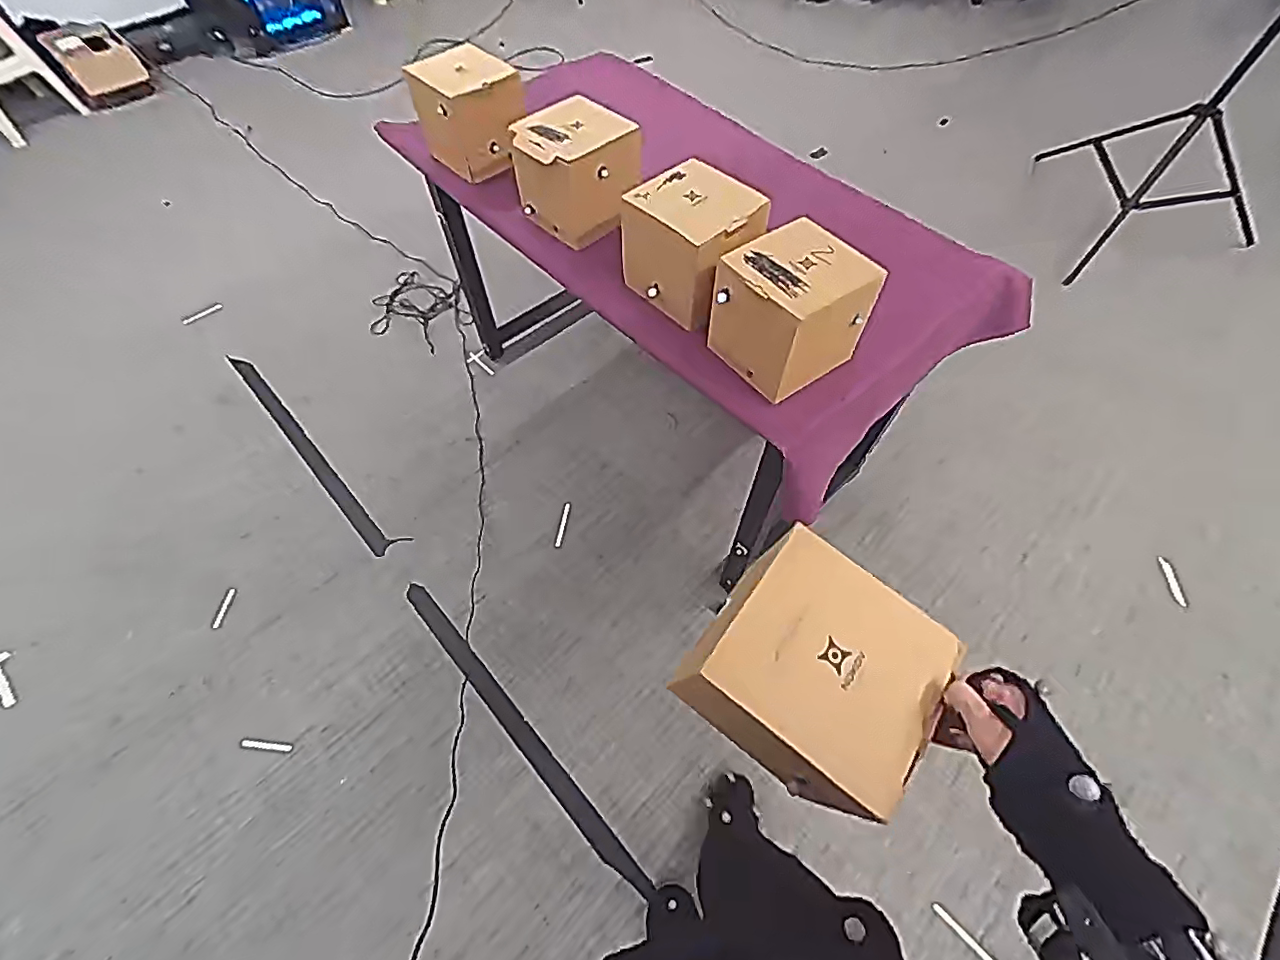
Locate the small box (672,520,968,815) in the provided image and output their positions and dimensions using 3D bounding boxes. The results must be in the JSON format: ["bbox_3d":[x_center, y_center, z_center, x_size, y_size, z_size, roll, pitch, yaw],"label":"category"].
[{"bbox_3d":[0.153,0.172,0.511,0.179,0.176,0.168,36,66,9],"label":"small box"}]

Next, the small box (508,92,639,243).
[{"bbox_3d":[-0.115,-0.582,1.016,0.168,0.176,0.179,40,66,21],"label":"small box"}]

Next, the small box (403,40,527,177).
[{"bbox_3d":[-0.354,-0.772,1.130,0.179,0.176,0.168,41,67,21],"label":"small box"}]
